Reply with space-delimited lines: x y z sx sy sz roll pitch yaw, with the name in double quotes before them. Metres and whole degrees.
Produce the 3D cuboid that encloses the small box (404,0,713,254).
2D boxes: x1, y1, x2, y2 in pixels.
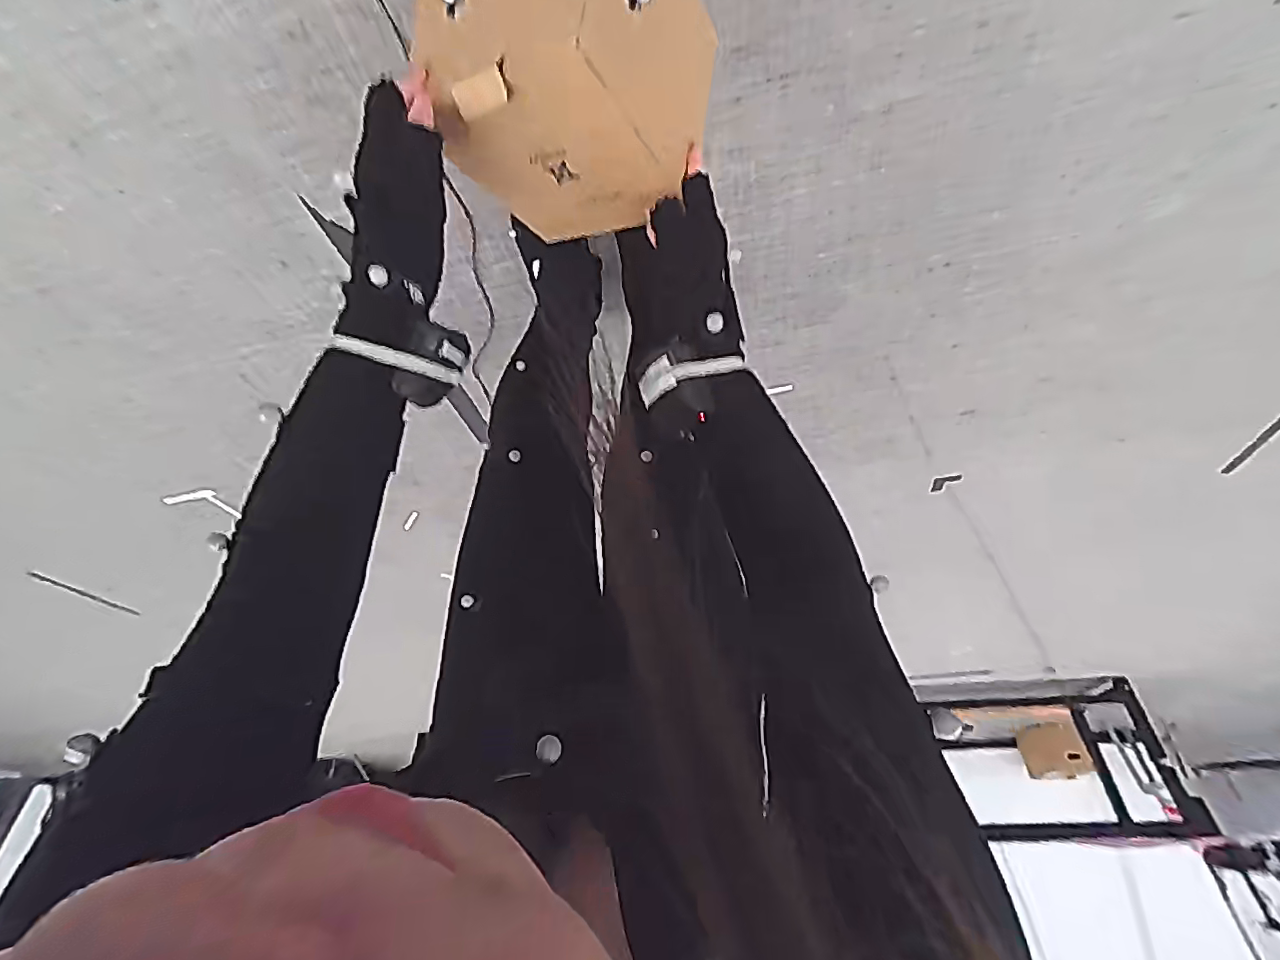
"small box" -0.053 -0.312 0.432 0.168 0.176 0.179 5 176 30
